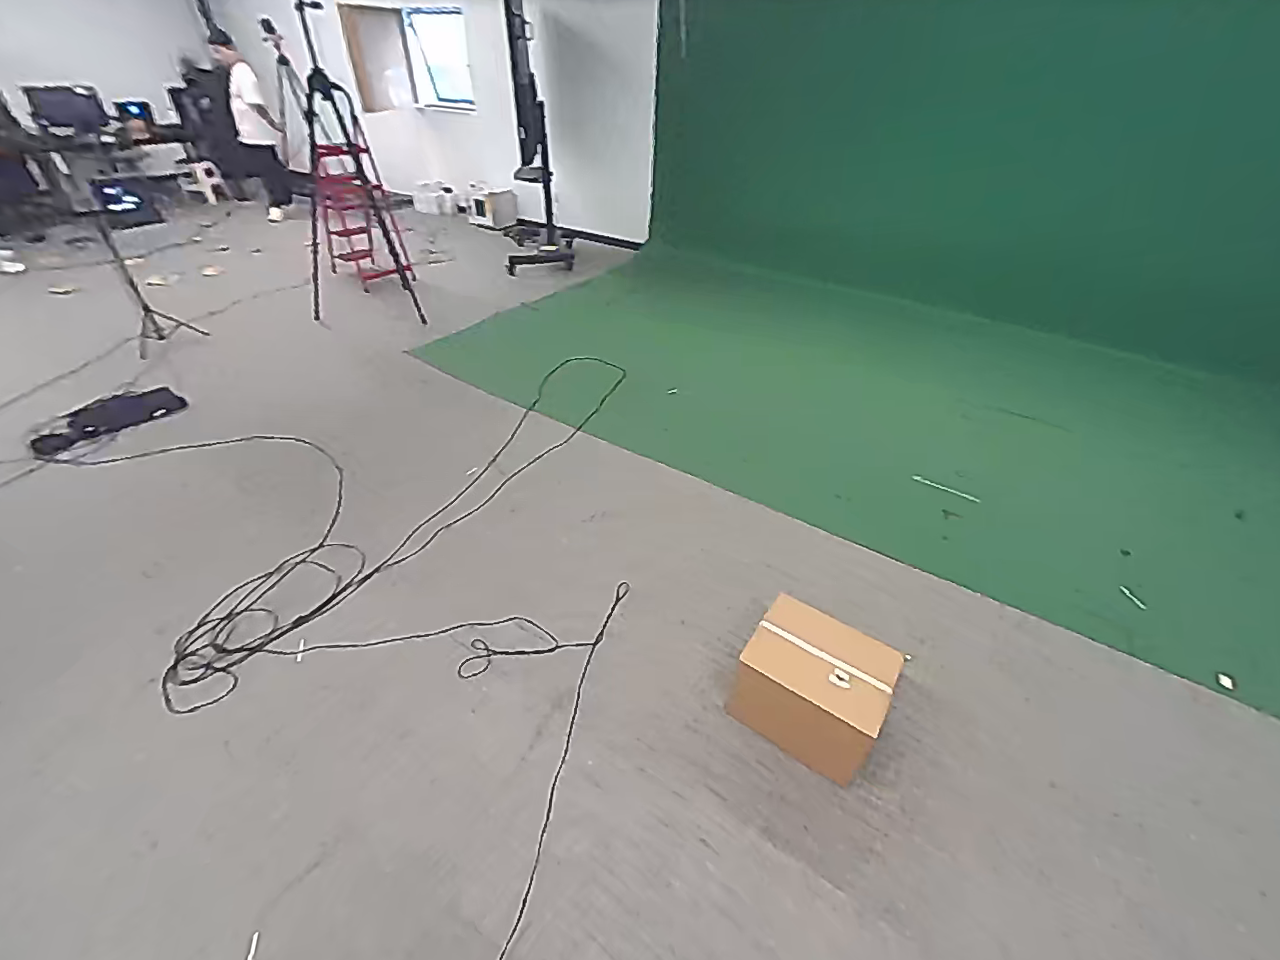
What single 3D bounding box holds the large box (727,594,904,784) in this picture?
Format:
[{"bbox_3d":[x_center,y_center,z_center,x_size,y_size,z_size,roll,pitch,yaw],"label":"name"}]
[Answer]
[{"bbox_3d":[0.530,0.636,1.681,0.408,0.320,0.320,25,44,26],"label":"large box"}]
